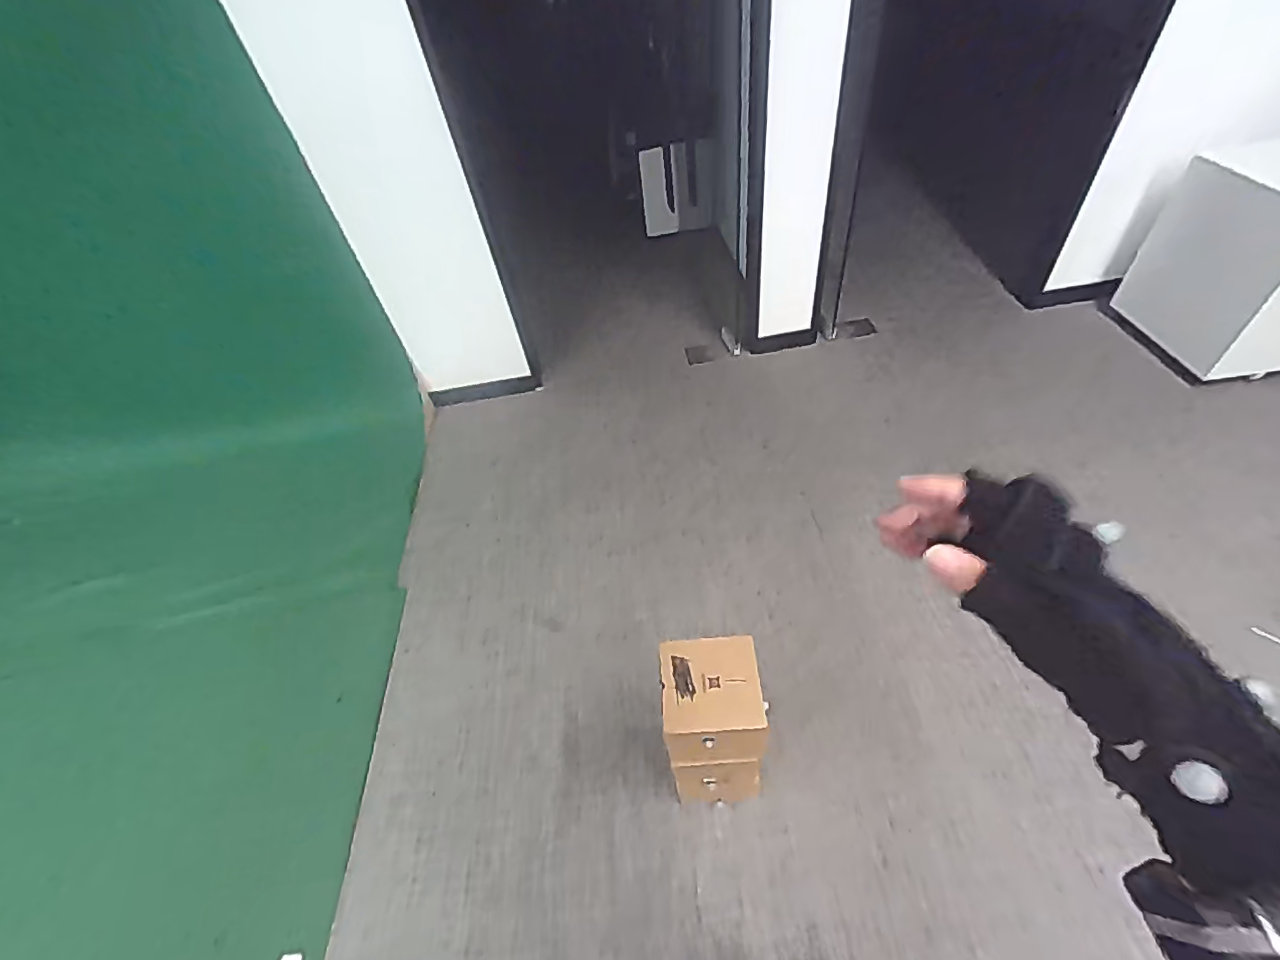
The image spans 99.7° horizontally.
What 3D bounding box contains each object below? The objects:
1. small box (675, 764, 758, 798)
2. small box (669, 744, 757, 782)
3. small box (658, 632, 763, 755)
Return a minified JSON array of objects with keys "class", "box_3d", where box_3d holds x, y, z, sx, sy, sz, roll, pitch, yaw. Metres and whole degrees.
[{"class":"small box","box_3d":[0.170,0.625,1.251,0.179,0.176,0.168,-5,48,5]},{"class":"small box","box_3d":[0.148,0.513,1.135,0.168,0.176,0.179,-7,49,6]},{"class":"small box","box_3d":[0.132,0.403,1.013,0.179,0.176,0.168,-6,48,5]}]
